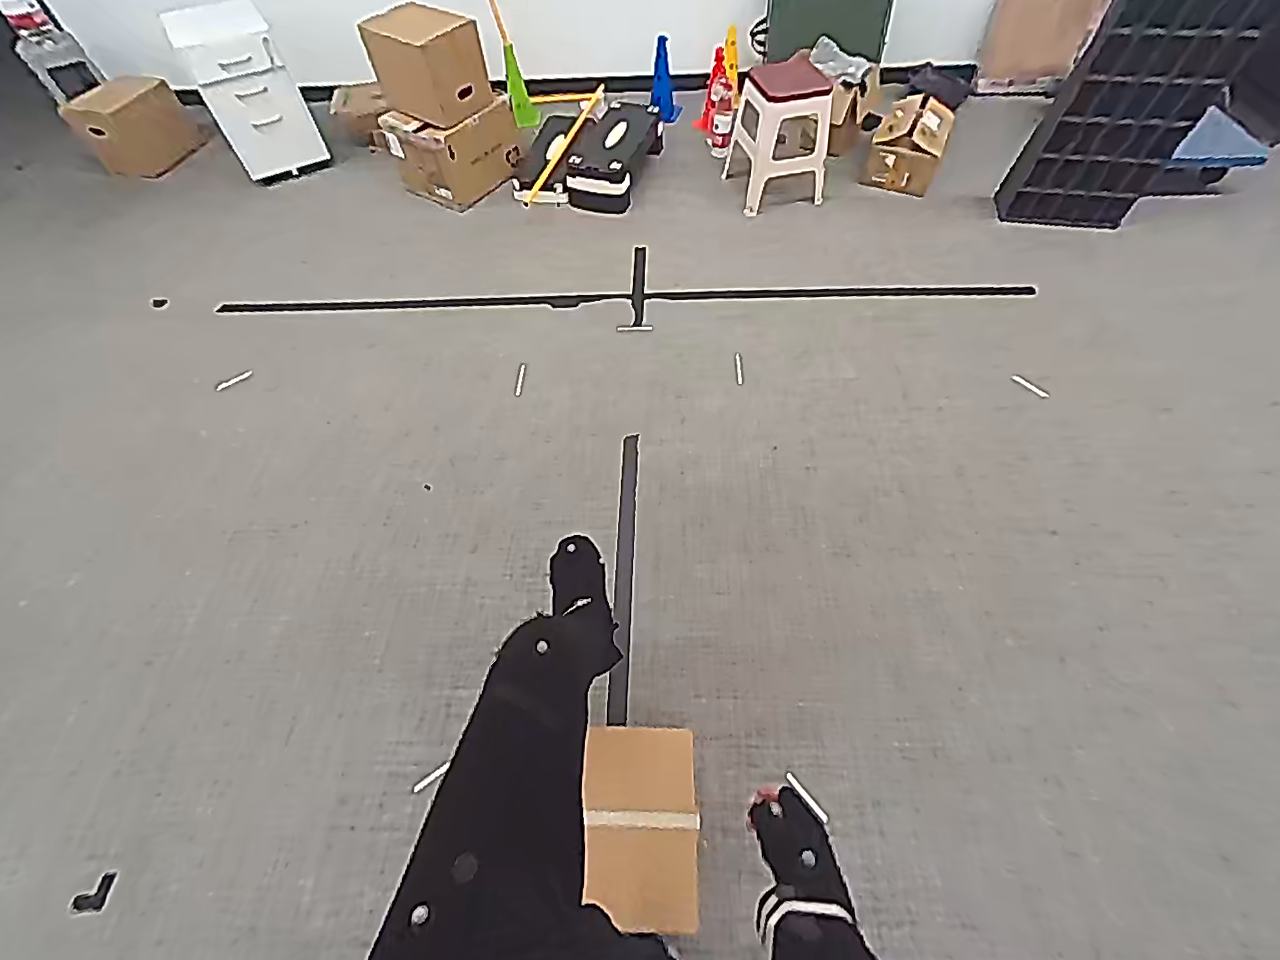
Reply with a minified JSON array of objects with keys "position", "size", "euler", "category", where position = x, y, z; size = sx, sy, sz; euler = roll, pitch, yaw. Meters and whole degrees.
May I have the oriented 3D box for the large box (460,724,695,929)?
[{"position":[-0.099,0.695,1.112],"size":[0.408,0.320,0.320],"euler":[0,57,3],"category":"large box"}]
